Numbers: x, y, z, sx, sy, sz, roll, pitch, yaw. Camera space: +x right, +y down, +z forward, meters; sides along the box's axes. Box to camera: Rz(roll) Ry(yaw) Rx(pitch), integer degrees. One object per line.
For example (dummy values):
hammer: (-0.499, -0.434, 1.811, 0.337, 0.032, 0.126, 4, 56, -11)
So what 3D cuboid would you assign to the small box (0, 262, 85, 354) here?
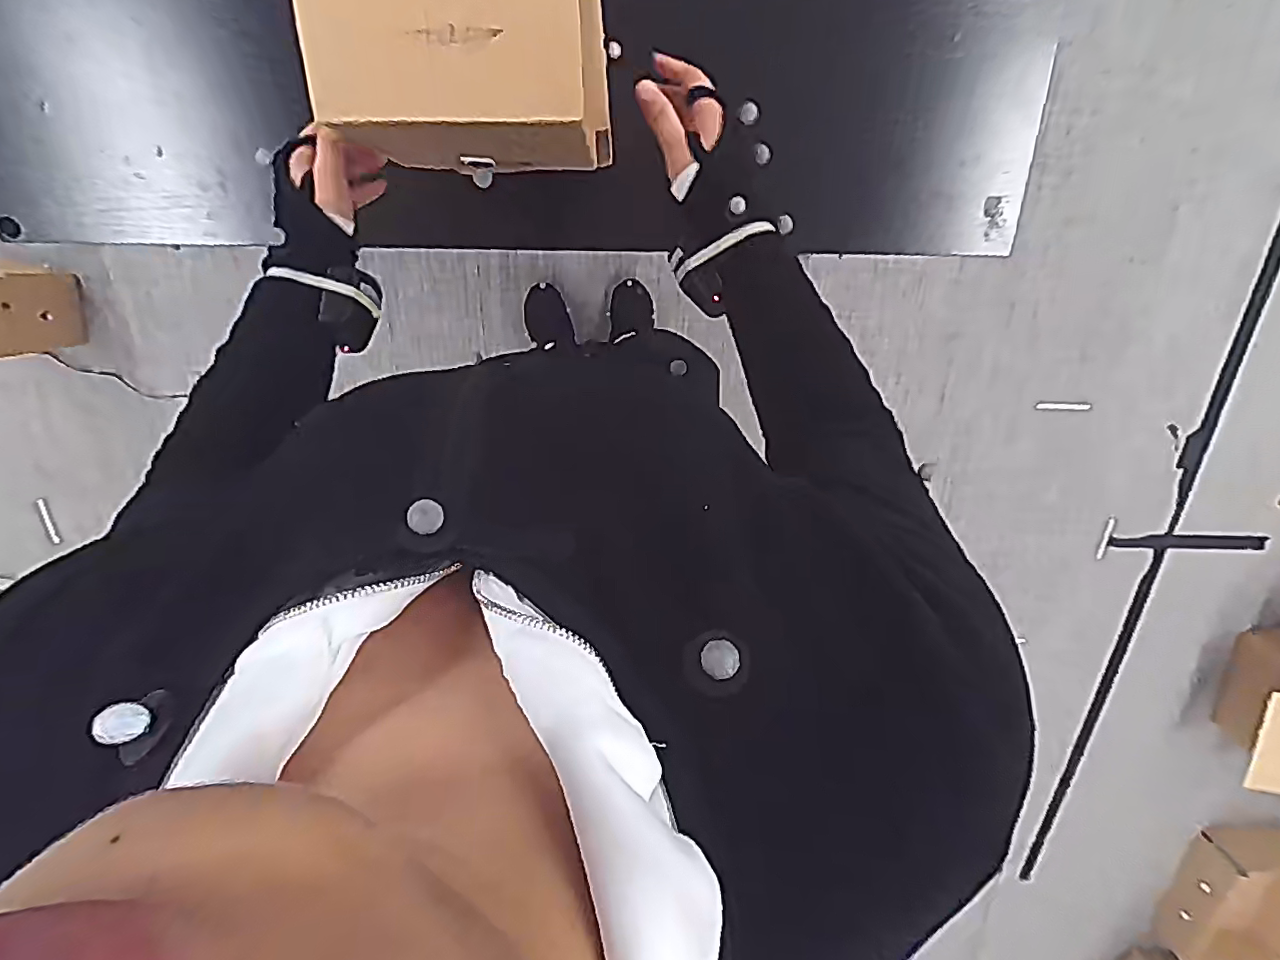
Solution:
small box: (-1.451, -0.400, 1.244, 0.168, 0.176, 0.179, 8, 111, -5)

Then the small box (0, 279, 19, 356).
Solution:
small box: (-1.434, -0.336, 1.093, 0.179, 0.176, 0.168, 5, 109, -4)

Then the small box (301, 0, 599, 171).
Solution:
small box: (-0.116, -0.331, 0.378, 0.168, 0.176, 0.179, -1, 111, -1)

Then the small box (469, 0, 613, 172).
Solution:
small box: (-0.121, -0.408, 0.524, 0.179, 0.176, 0.168, -4, 111, 0)
